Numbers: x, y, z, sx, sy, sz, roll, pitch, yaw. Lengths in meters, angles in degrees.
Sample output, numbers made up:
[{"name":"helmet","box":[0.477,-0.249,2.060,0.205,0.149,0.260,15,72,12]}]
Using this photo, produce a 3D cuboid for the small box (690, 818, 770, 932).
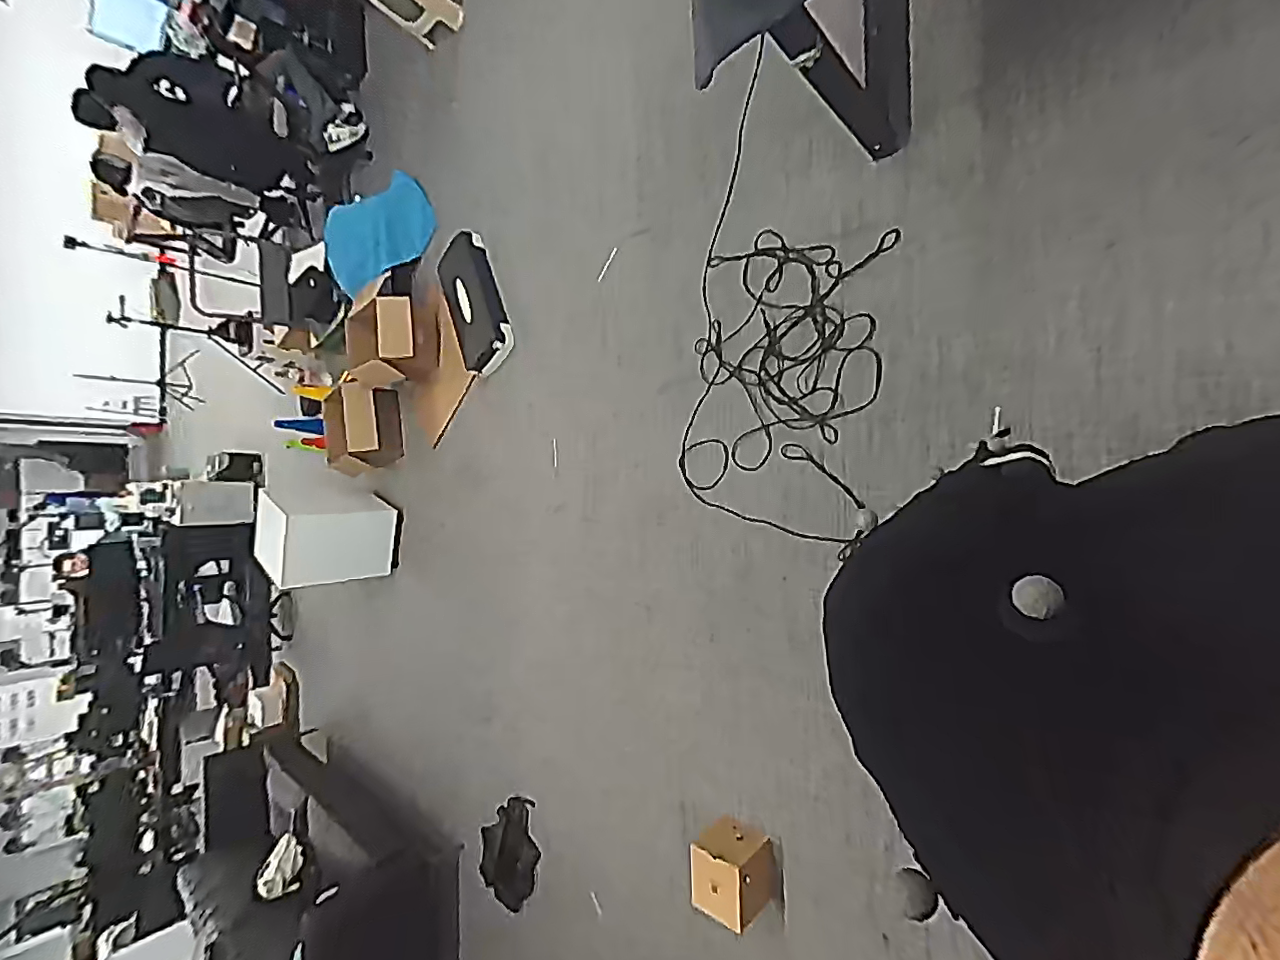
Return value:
[{"name":"small box","box":[0.260,1.116,1.545,0.168,0.176,0.179,-3,88,43]}]
